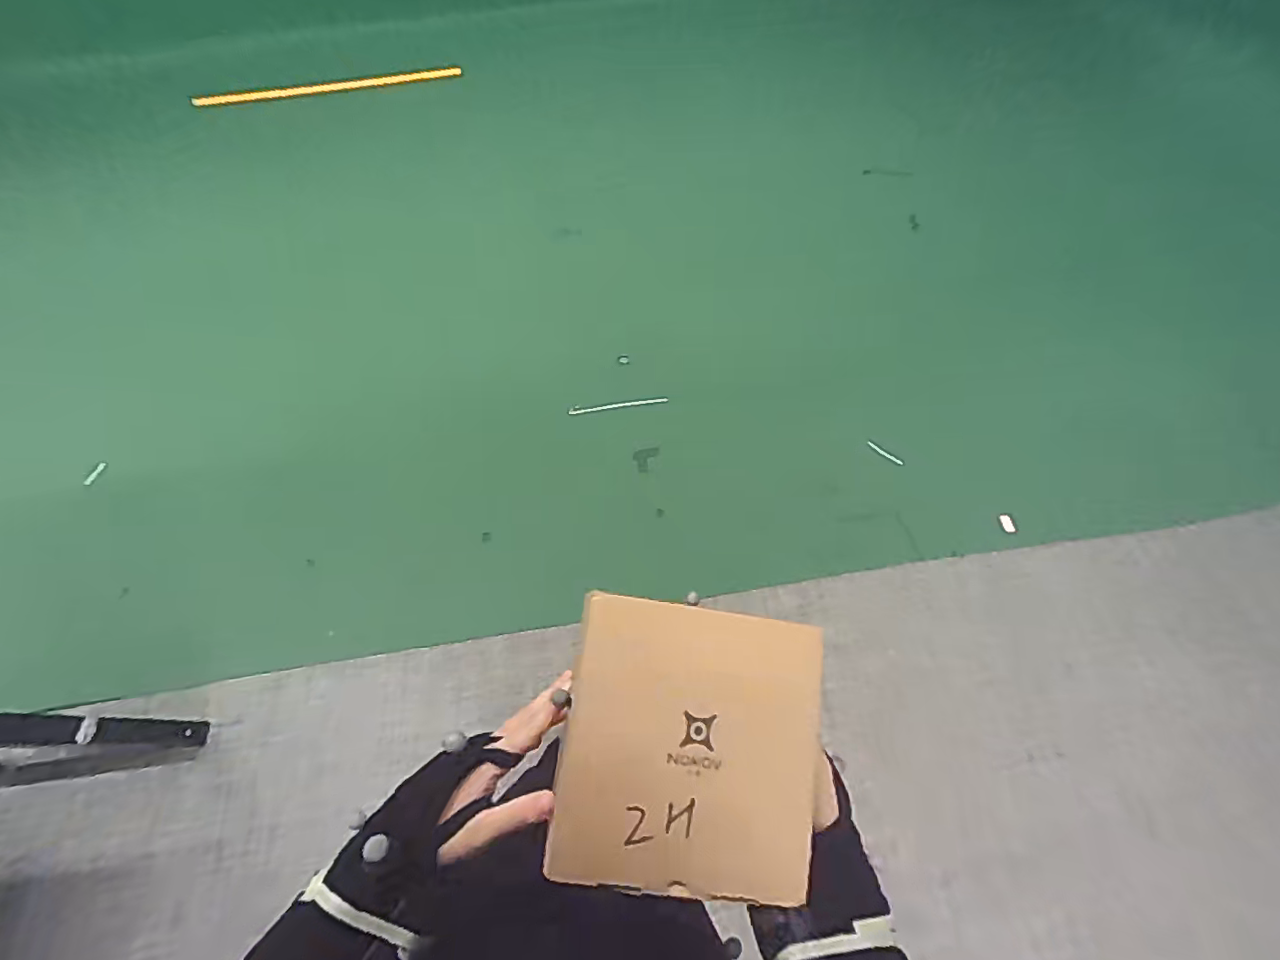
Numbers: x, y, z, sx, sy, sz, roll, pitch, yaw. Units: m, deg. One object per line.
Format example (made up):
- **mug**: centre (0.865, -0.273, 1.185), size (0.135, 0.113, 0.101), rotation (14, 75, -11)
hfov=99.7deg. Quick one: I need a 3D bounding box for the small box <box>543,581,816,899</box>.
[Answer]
- **small box**: centre (0.022, 0.185, 0.429), size (0.168, 0.176, 0.179), rotation (10, 75, -5)
